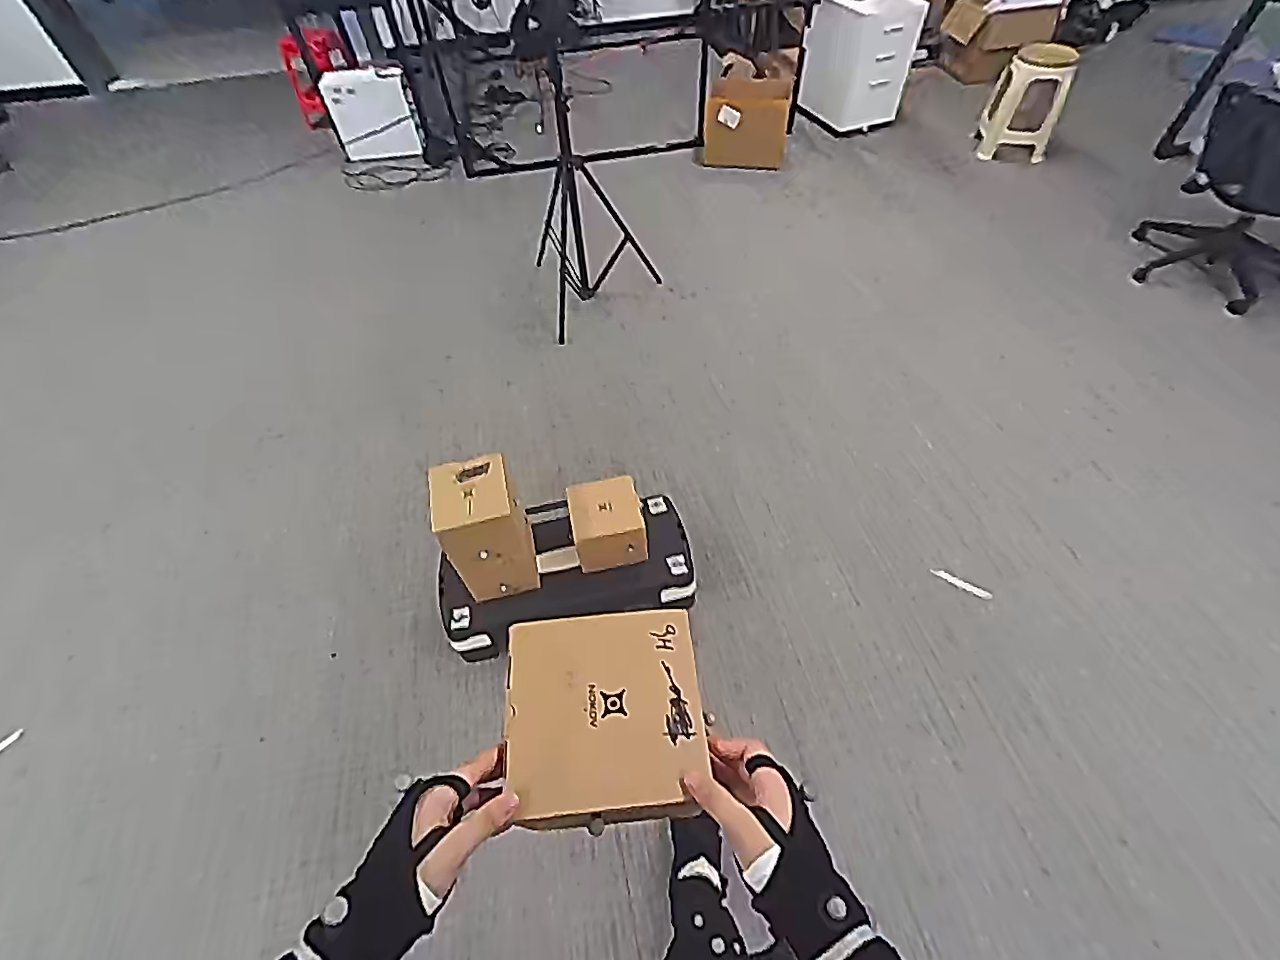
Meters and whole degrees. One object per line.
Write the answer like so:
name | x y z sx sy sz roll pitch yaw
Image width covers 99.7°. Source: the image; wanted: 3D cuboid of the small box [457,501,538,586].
small box | -0.355 0.182 1.358 0.168 0.176 0.179 -13 53 -6

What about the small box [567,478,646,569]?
small box | -0.082 0.122 1.393 0.179 0.176 0.168 -12 53 -4

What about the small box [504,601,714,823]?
small box | -0.029 0.240 0.550 0.179 0.176 0.168 -4 54 -3

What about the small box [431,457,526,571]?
small box | -0.364 0.079 1.230 0.168 0.176 0.179 -14 54 -8
